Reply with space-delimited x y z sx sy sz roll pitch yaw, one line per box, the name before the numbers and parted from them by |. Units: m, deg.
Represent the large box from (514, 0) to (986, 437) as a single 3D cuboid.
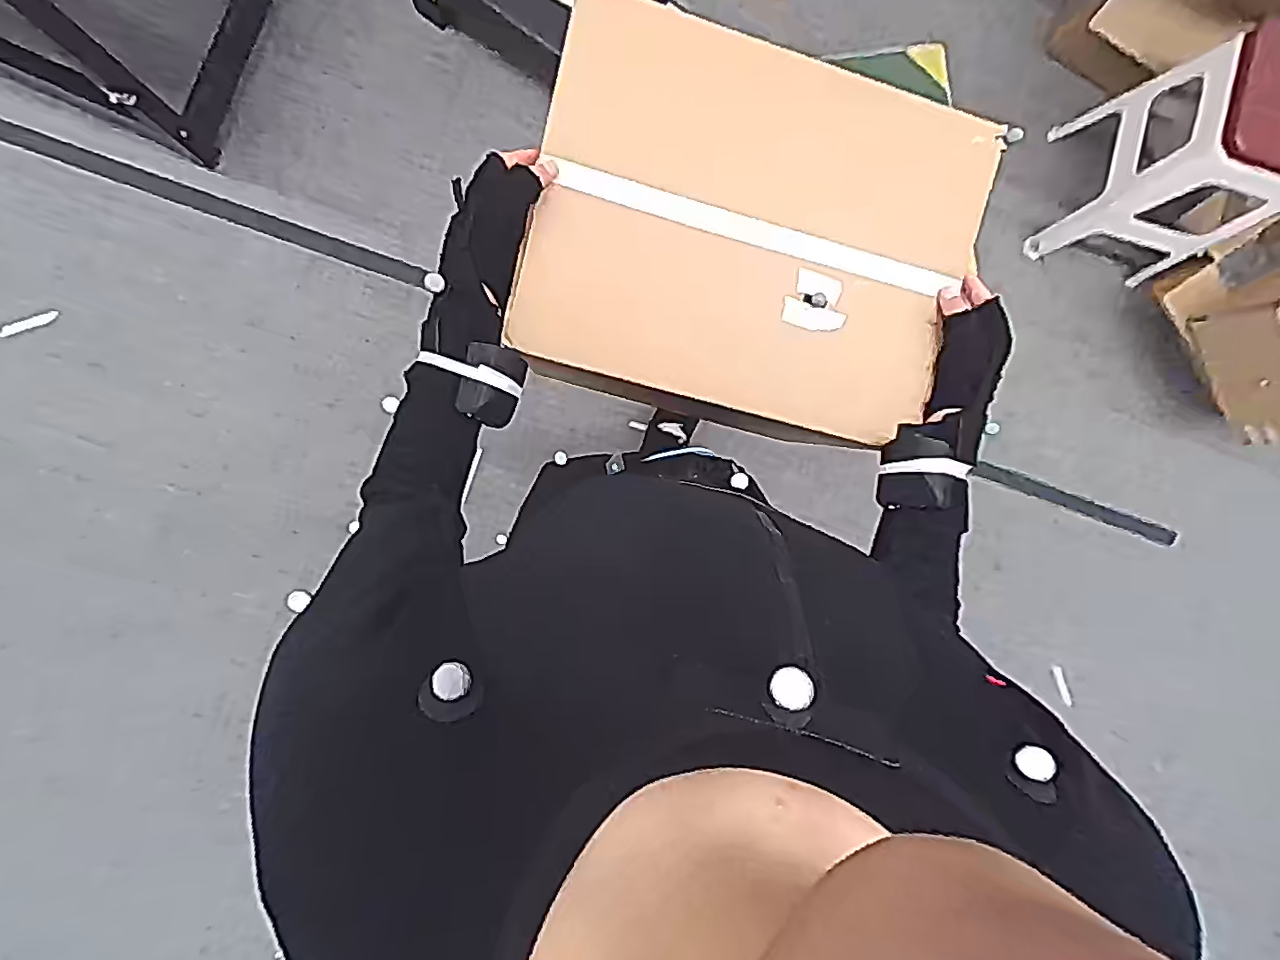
large box | 0.090 -0.248 0.650 0.408 0.320 0.320 14 96 -8
